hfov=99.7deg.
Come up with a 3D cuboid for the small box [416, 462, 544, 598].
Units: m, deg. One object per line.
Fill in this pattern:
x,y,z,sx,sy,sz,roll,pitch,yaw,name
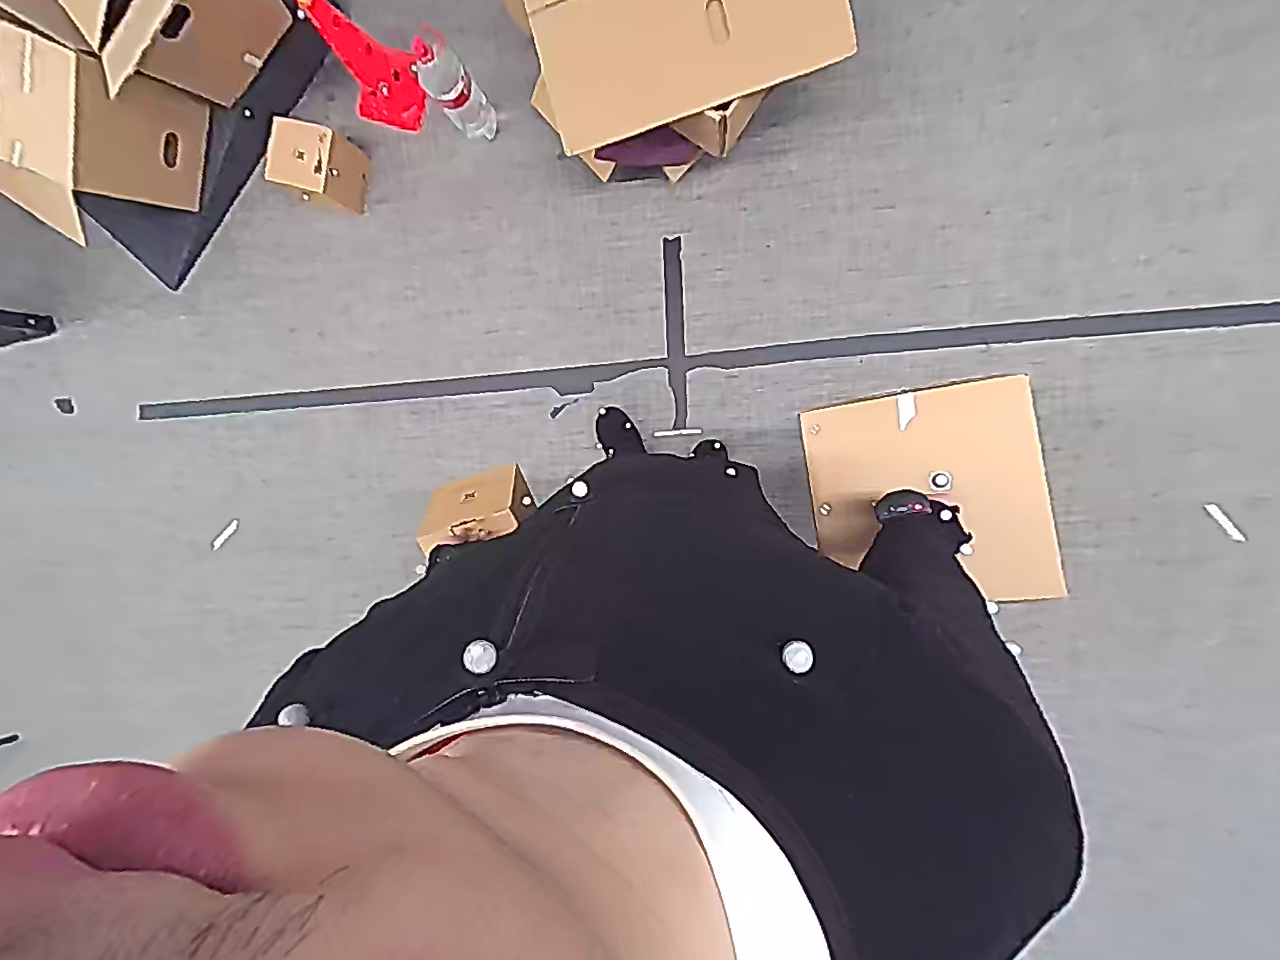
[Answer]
-0.283,0.097,0.999,0.168,0.179,0.176,-17,118,0,small box
